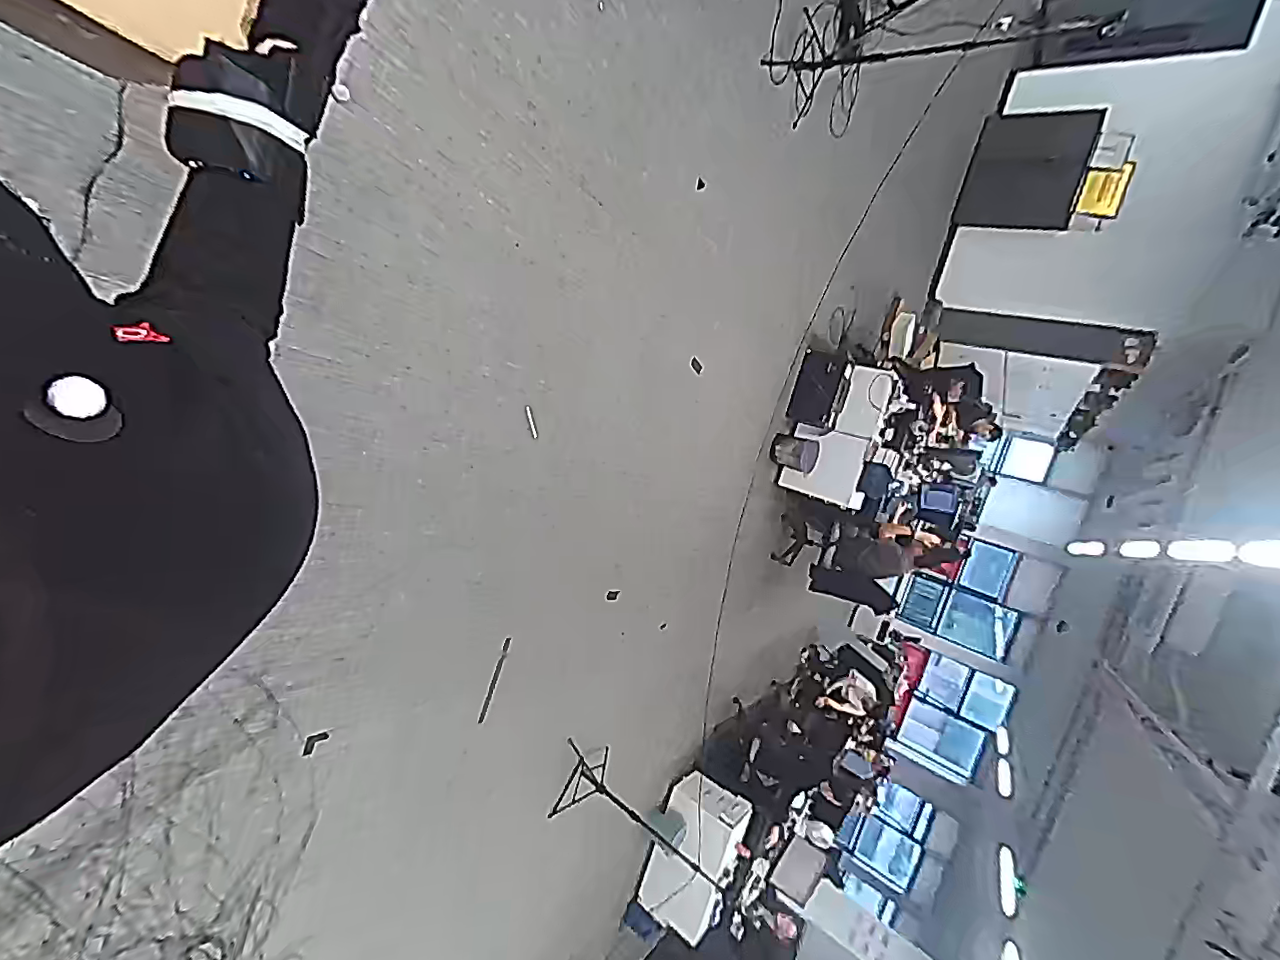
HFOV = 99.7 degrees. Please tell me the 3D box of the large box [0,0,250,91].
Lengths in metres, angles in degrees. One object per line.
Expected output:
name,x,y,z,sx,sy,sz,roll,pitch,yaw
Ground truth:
large box,-0.462,-0.488,0.270,0.408,0.320,0.320,6,110,-59
